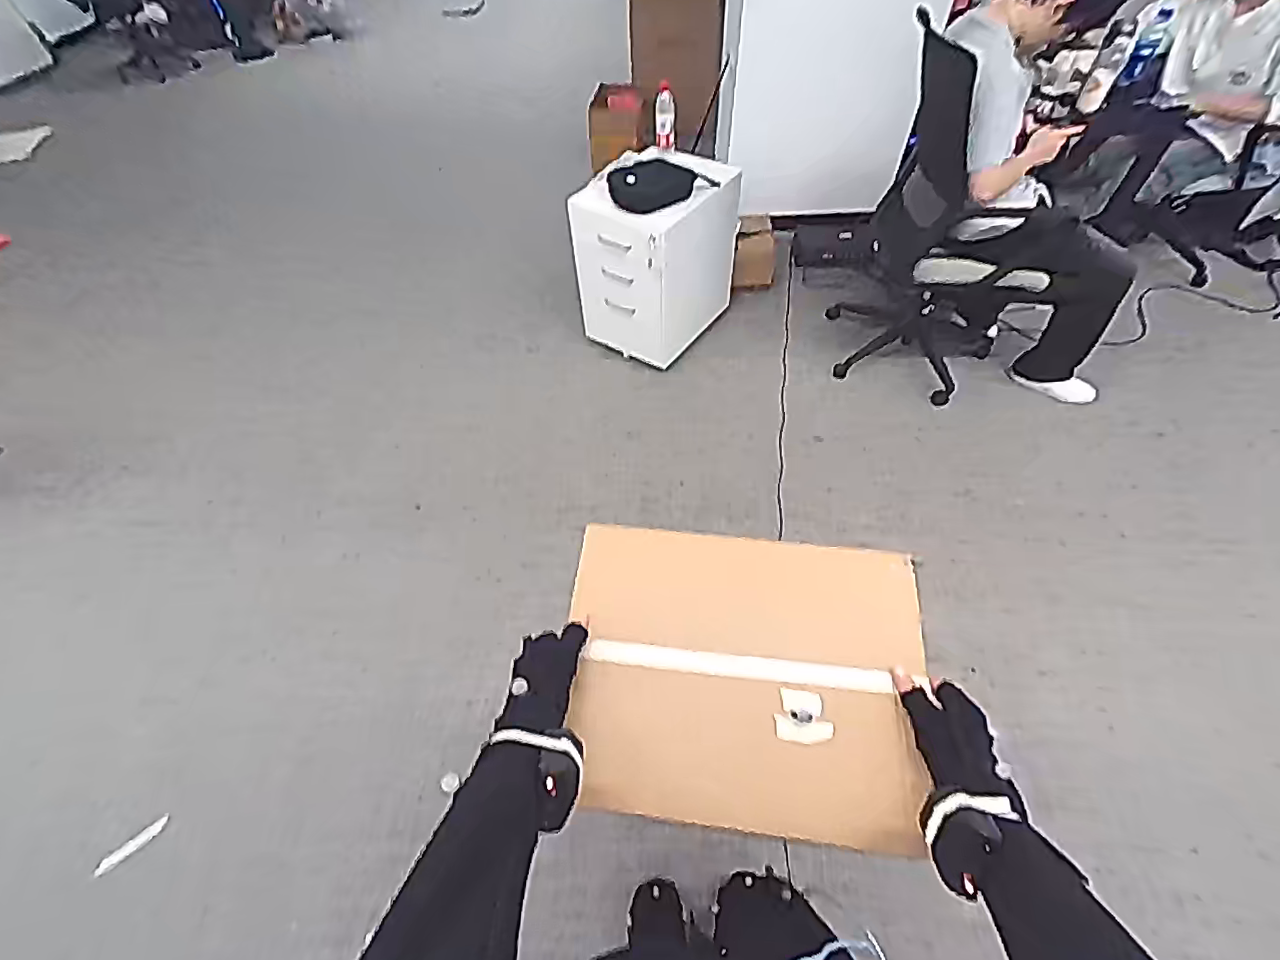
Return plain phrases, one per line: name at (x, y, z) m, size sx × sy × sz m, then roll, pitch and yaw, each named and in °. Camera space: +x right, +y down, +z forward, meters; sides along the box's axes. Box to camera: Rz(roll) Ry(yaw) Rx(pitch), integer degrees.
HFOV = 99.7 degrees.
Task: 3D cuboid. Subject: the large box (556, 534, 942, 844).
large box at (0.126, 0.292, 0.755) m, size 0.408 × 0.320 × 0.320 m, roll 5°, pitch 61°, yaw 6°
